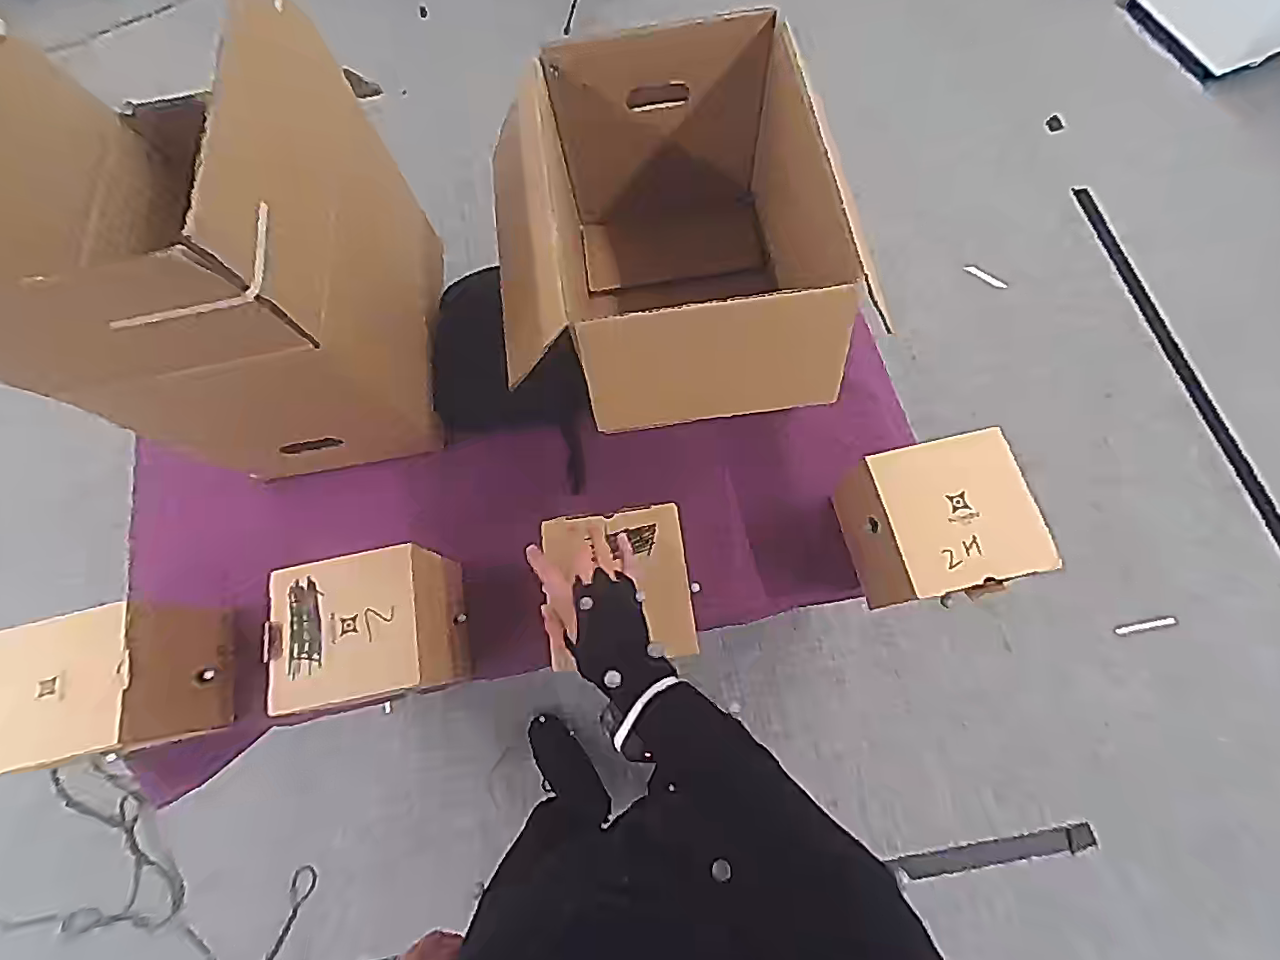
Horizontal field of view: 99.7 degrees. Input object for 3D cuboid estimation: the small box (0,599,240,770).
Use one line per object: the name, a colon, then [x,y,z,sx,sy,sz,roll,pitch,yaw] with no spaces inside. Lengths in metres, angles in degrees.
small box: [-0.672,0.263,0.706,0.179,0.176,0.168,-13,72,-2]

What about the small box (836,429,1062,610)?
small box: [0.372,0.060,0.693,0.168,0.176,0.179,-13,72,1]

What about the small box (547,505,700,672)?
small box: [-0.018,0.144,0.697,0.168,0.176,0.179,-8,73,2]
